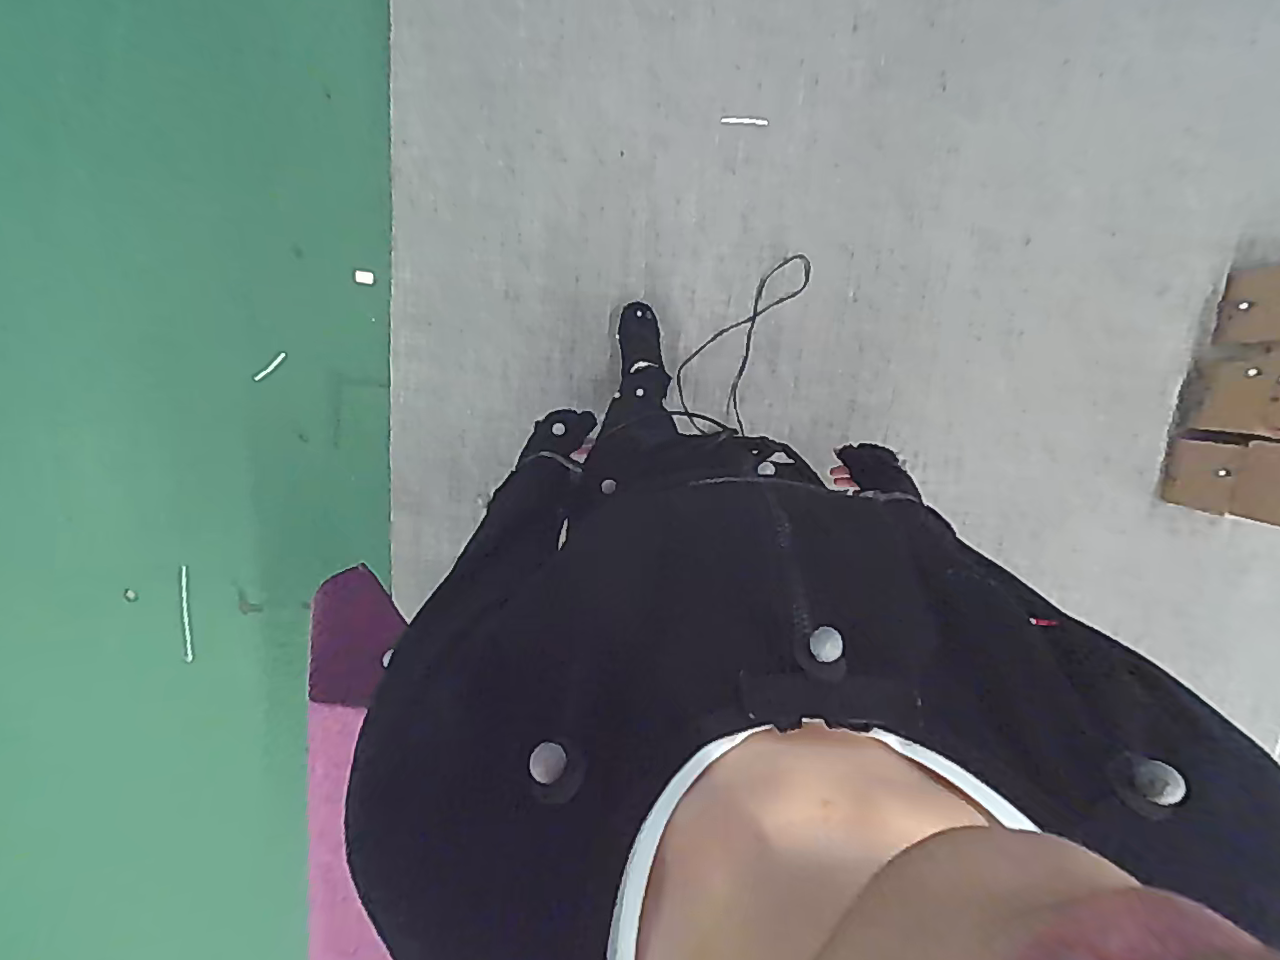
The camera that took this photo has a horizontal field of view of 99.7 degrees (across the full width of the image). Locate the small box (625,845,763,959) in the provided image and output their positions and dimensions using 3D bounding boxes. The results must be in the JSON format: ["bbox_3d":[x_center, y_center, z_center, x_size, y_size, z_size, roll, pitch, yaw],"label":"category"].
[{"bbox_3d":[0.067,0.659,0.759,0.168,0.176,0.179,8,101,3],"label":"small box"}]
